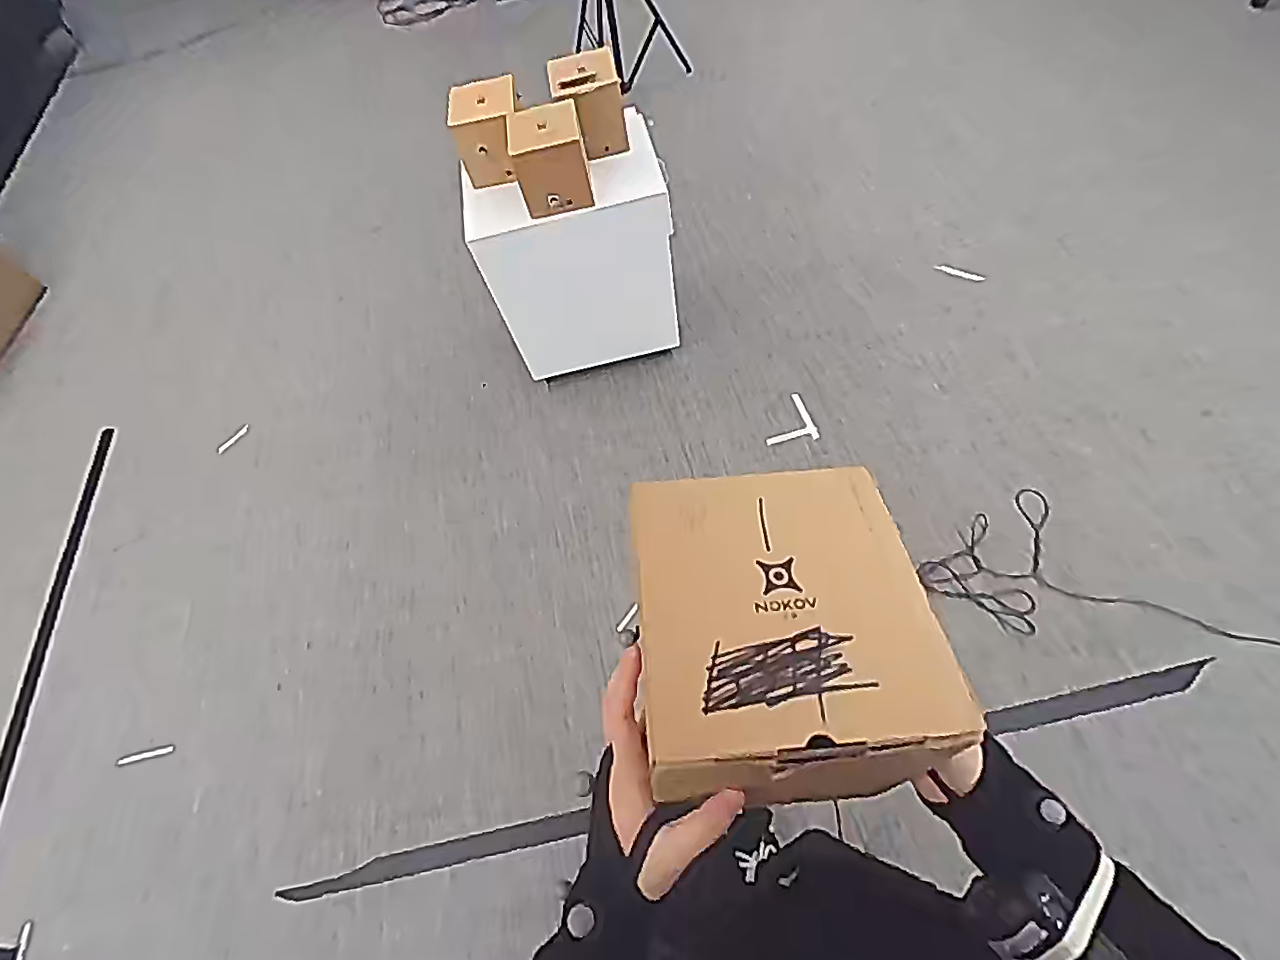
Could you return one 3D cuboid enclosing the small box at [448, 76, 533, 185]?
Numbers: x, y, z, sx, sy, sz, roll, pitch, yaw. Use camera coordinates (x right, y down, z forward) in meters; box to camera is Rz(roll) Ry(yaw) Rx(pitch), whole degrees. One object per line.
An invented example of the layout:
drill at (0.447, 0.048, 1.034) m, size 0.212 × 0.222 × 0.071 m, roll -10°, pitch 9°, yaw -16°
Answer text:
small box at (-0.378, -0.888, 1.390) m, size 0.168 × 0.176 × 0.179 m, roll -11°, pitch 62°, yaw 3°
